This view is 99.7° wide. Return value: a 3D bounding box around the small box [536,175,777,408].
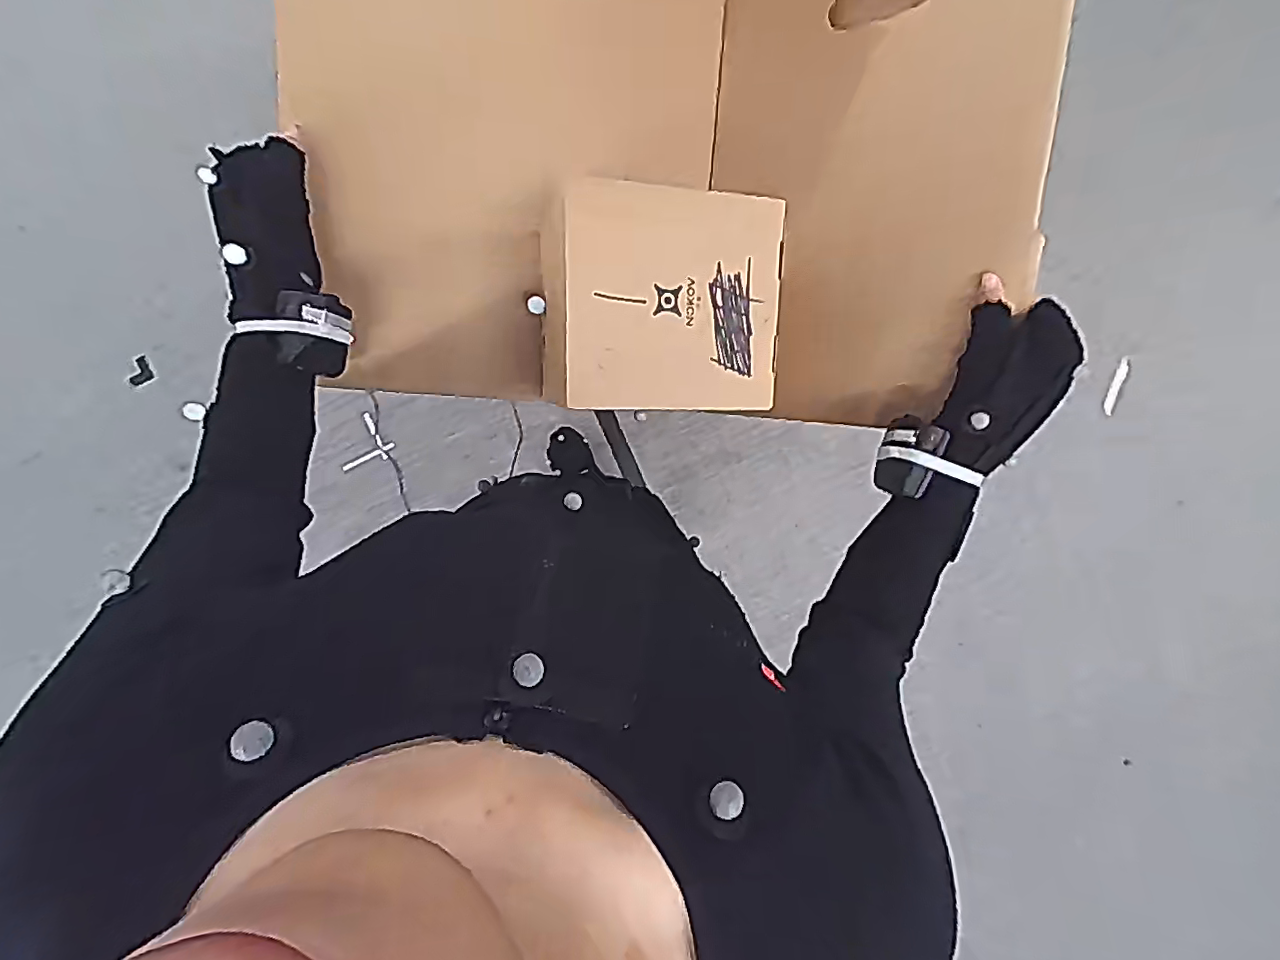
[{"bbox_3d":[0.002,-0.155,0.495,0.179,0.176,0.168,-3,101,-15],"label":"small box"}]
